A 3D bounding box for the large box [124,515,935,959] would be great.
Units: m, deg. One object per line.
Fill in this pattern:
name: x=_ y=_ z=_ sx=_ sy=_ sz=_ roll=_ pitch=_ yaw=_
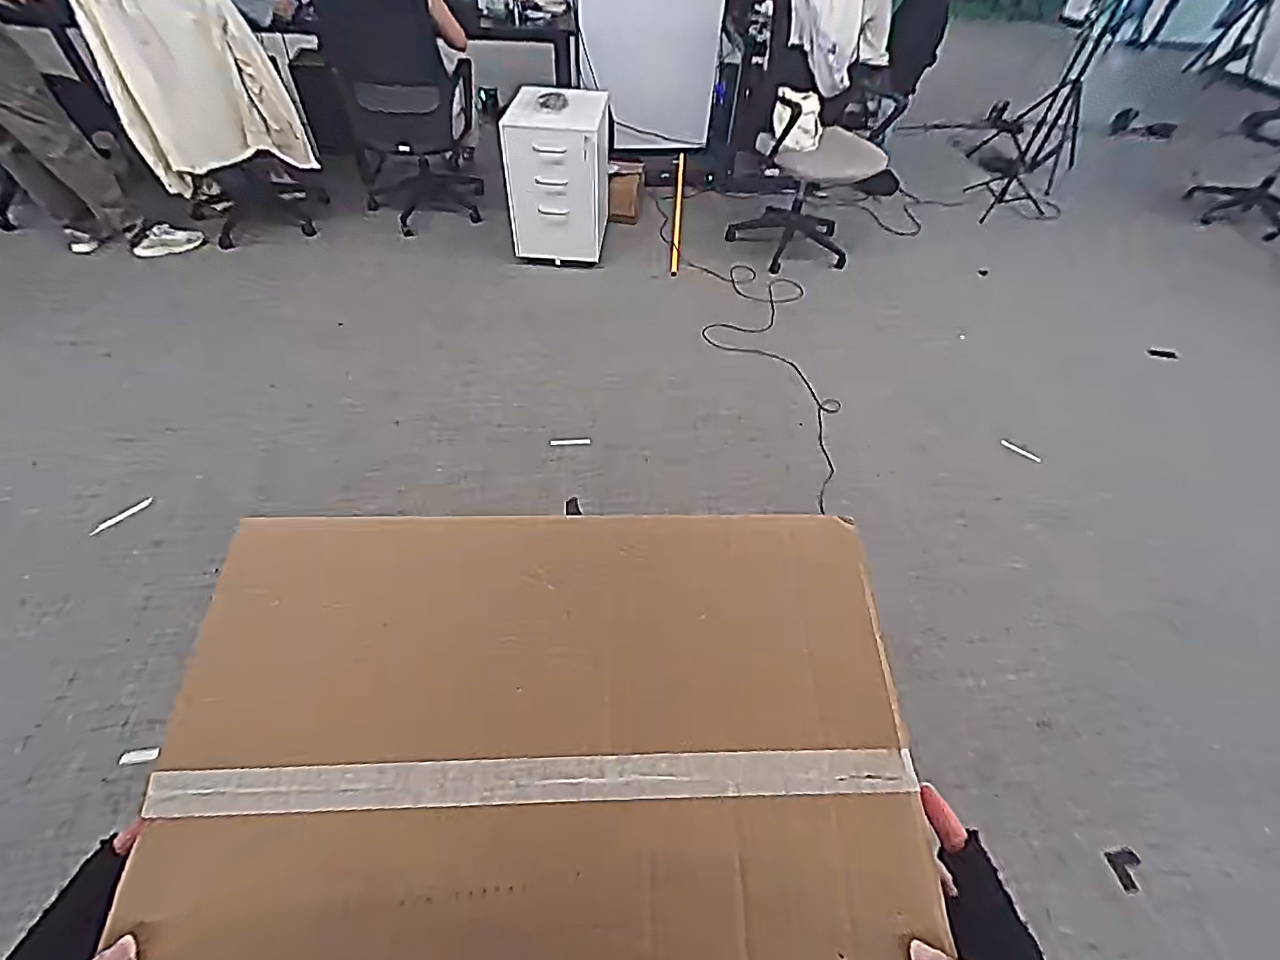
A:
large box: x=-0.058 y=0.232 z=0.437 sx=0.408 sy=0.320 sz=0.320 roll=0 pitch=63 yaw=-3
